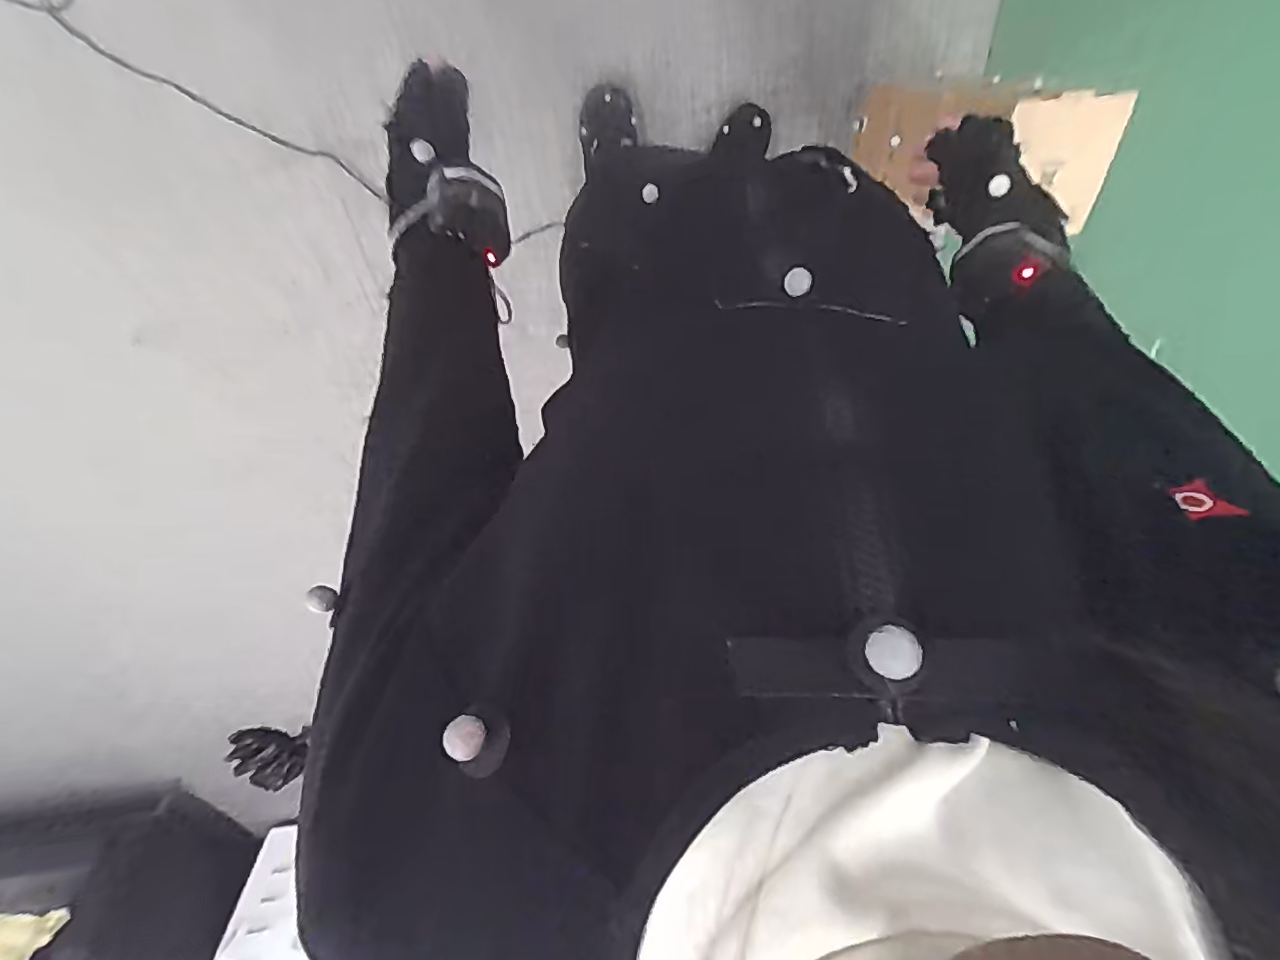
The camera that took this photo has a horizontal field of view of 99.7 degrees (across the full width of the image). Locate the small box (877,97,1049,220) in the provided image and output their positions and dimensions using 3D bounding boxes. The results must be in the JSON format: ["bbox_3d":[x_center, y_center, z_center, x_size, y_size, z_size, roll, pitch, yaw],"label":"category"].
[{"bbox_3d":[0.551,-0.567,0.950,0.179,0.176,0.168,-3,127,0],"label":"small box"}]
